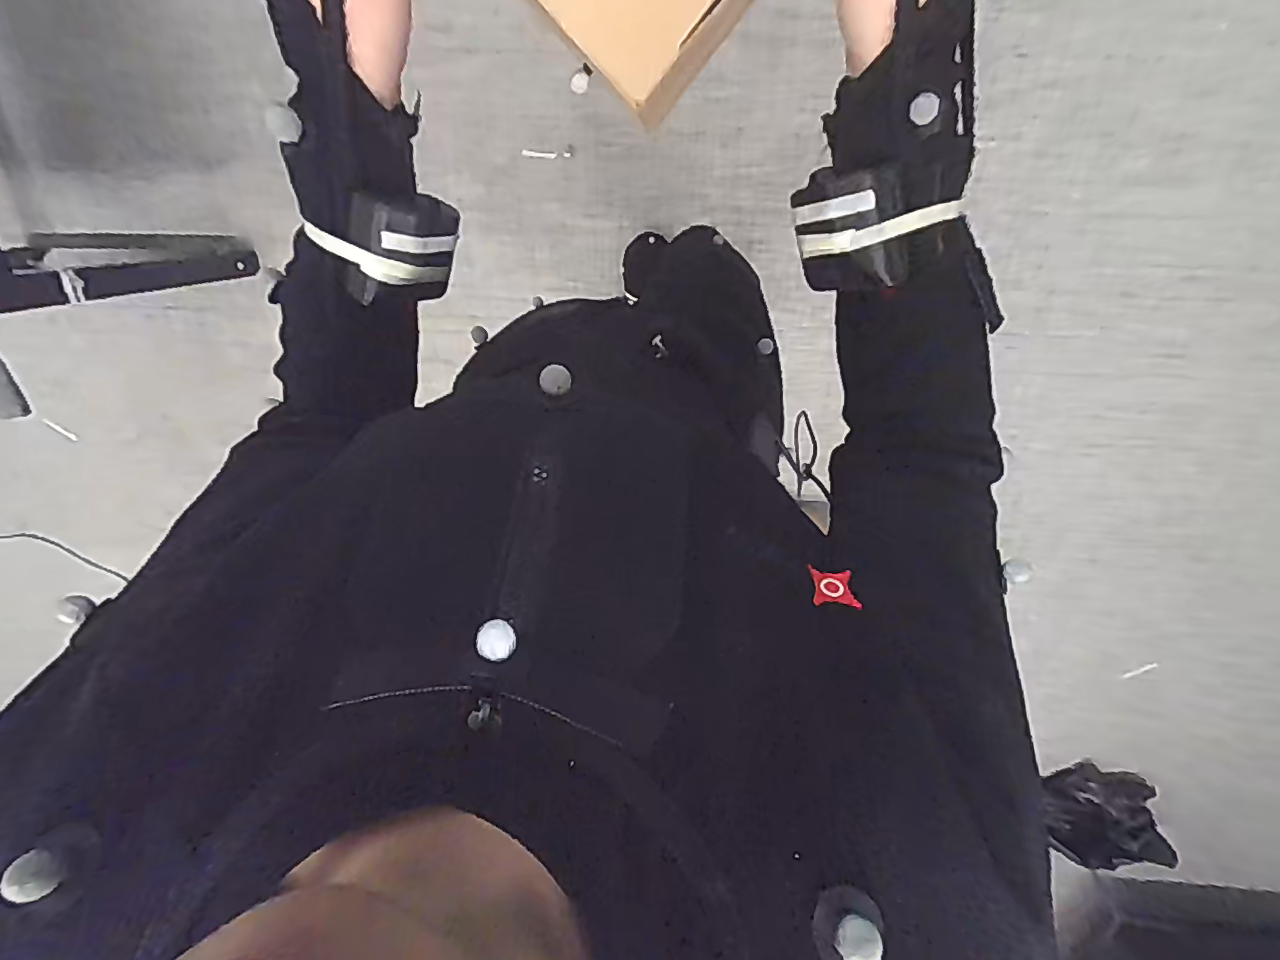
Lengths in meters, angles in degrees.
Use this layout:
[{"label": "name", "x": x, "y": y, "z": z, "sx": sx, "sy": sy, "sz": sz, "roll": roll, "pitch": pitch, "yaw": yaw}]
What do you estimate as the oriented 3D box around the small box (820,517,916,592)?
[{"label": "small box", "x": 0.584, "y": 0.214, "z": 1.414, "sx": 0.168, "sy": 0.176, "sz": 0.179, "roll": 6, "pitch": 116, "yaw": 1}]
